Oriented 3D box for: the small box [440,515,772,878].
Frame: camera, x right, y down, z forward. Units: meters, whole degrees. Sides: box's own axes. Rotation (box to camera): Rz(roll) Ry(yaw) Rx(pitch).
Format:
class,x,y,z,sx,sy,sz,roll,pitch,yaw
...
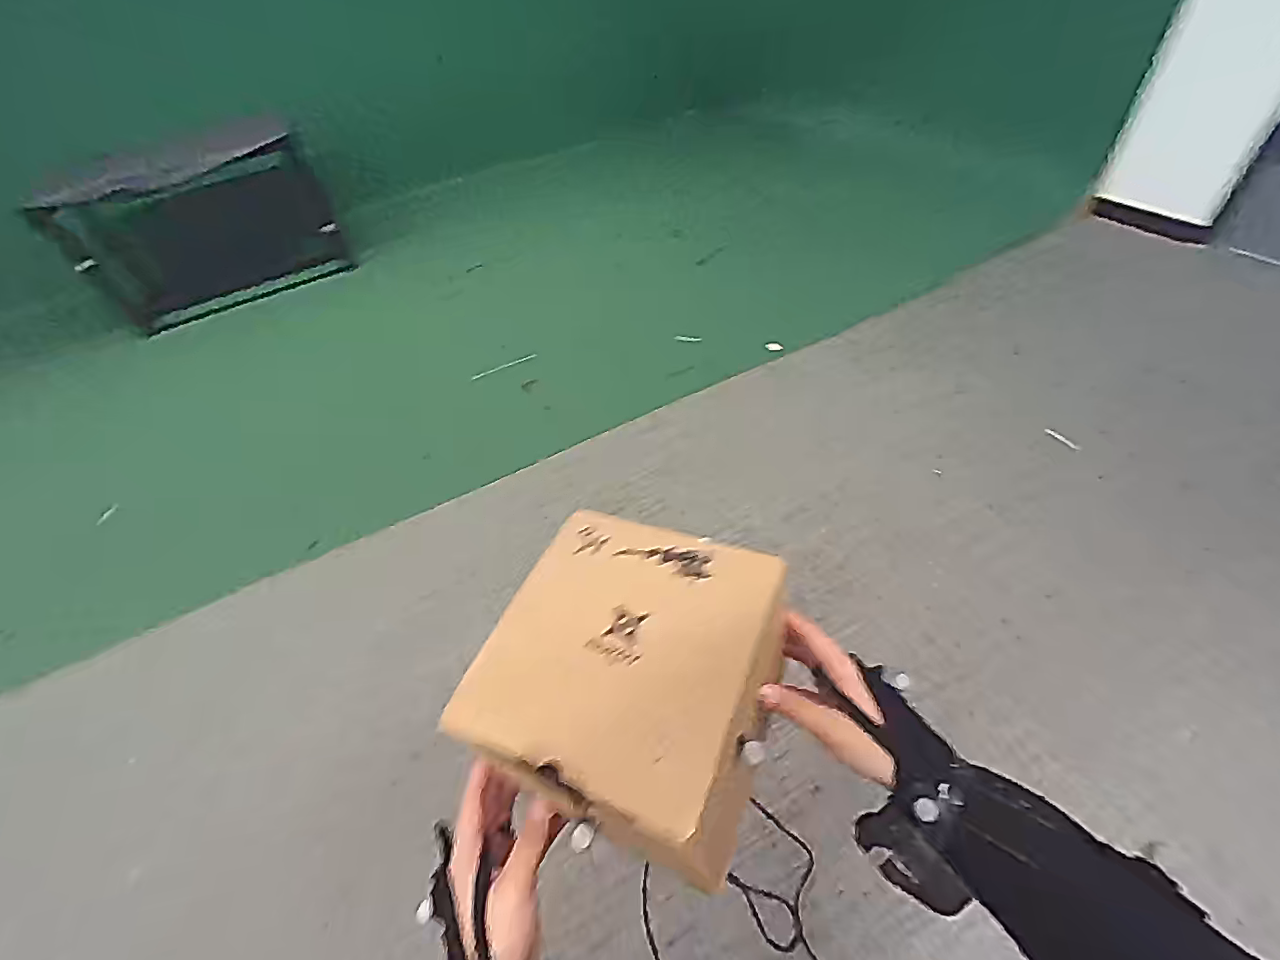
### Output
class,x,y,z,sx,sy,sz,roll,pitch,yaw
small box,-0.002,0.157,0.401,0.168,0.176,0.179,11,52,24
